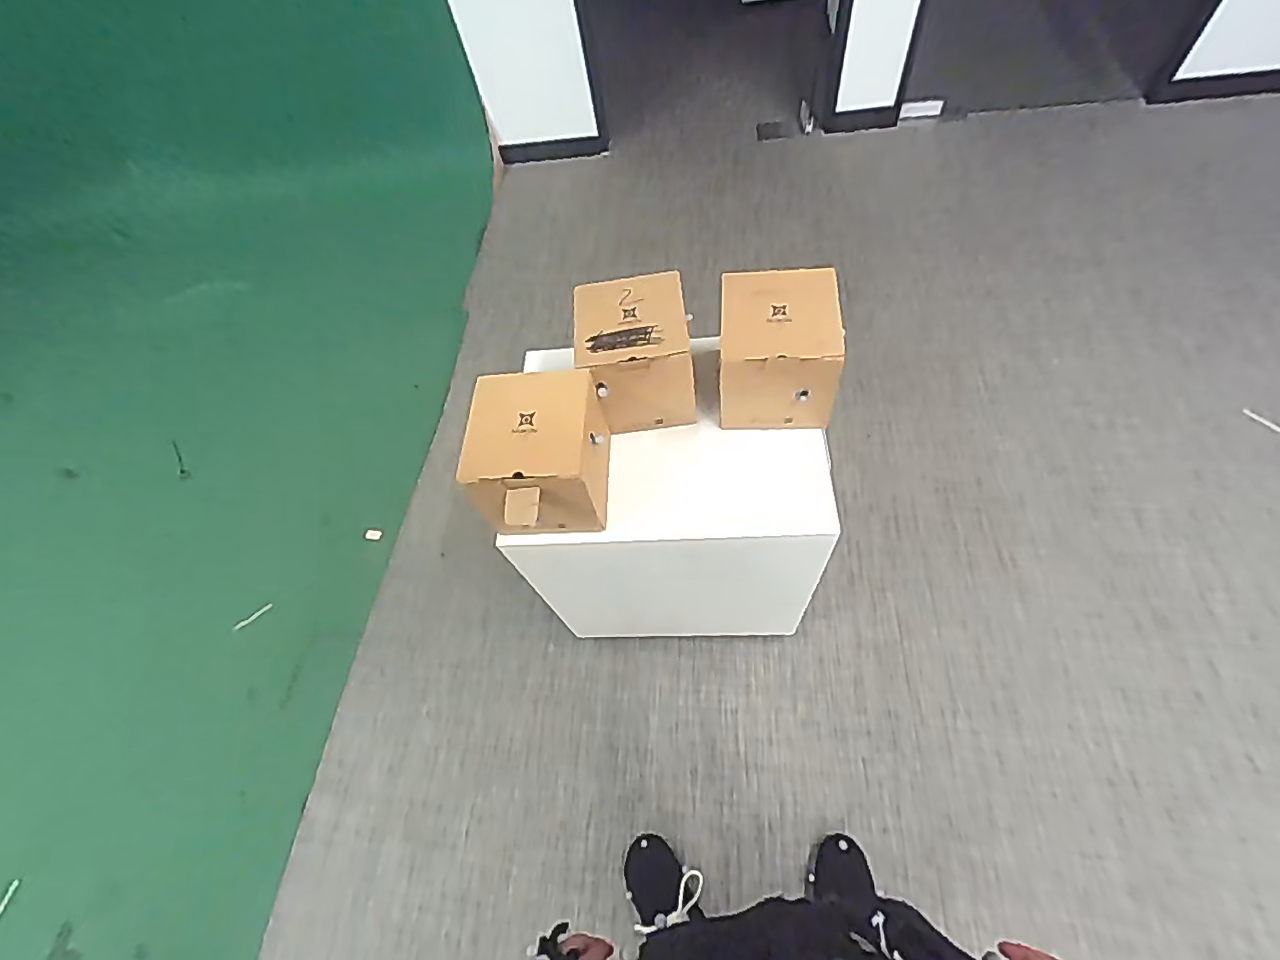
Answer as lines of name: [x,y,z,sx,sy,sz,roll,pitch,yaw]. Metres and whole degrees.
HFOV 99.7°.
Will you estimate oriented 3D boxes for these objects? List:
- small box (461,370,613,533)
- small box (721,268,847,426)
small box: [-0.135,-0.037,0.786,0.168,0.176,0.179,-2,59,7]
small box: [0.210,-0.196,0.828,0.168,0.176,0.179,1,60,8]
